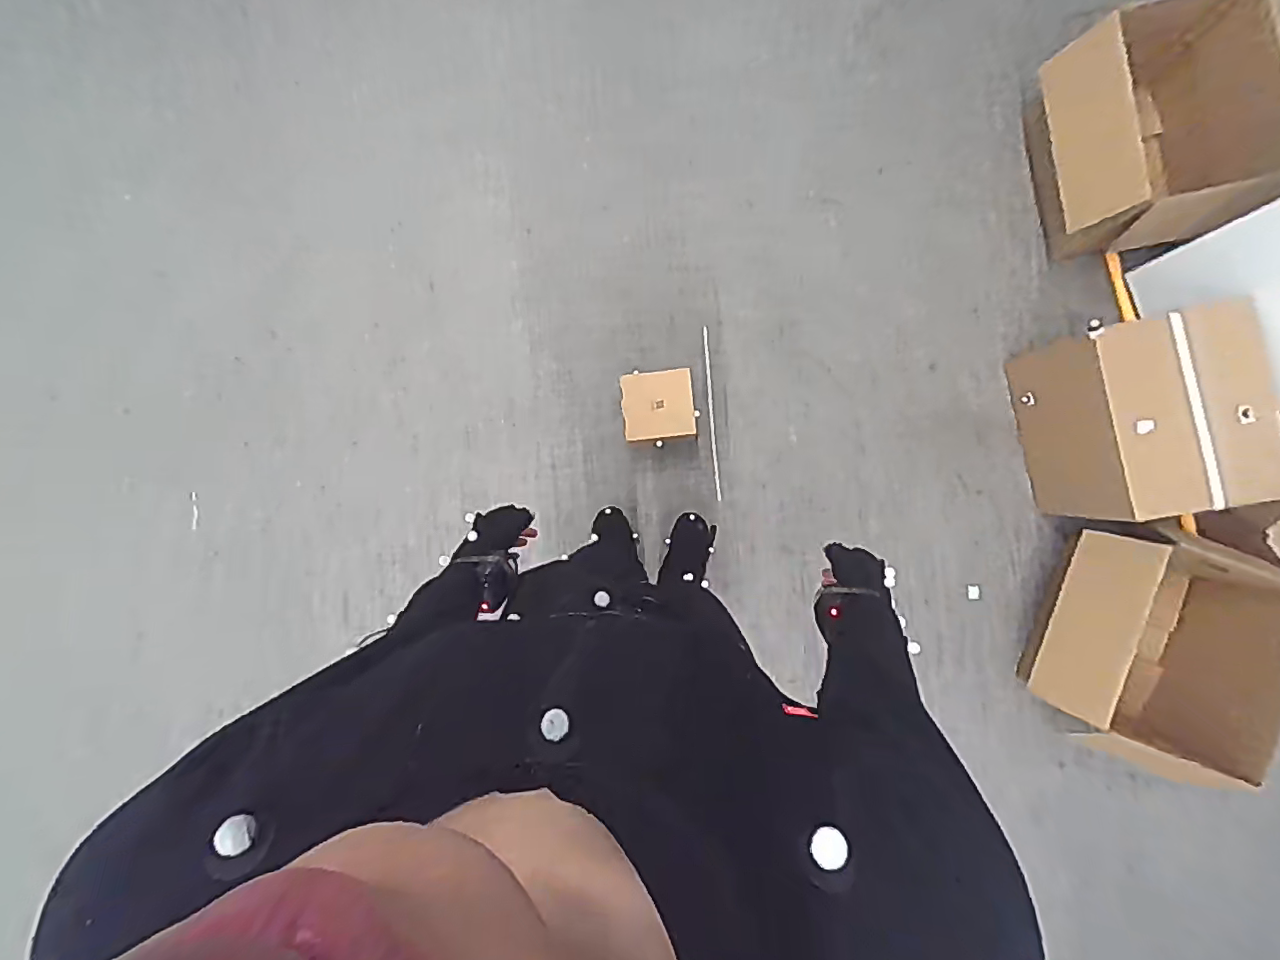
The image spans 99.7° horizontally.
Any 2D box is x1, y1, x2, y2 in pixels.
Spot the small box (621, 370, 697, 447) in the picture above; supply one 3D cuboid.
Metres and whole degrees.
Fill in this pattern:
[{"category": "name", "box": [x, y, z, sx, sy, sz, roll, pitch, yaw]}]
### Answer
[{"category": "small box", "box": [0.052, -0.178, 1.394, 0.179, 0.176, 0.168, -6, 88, 5]}]
